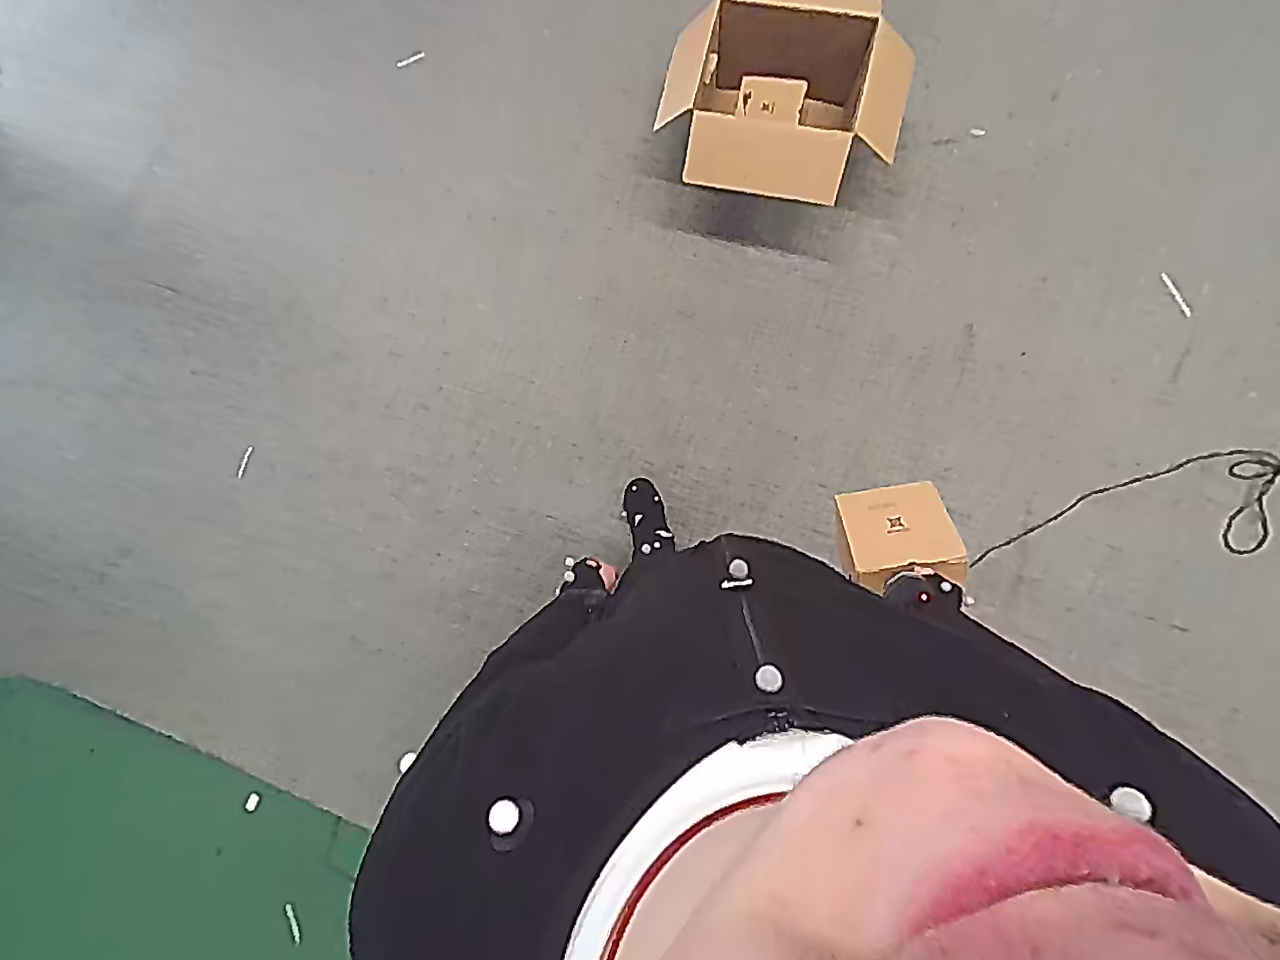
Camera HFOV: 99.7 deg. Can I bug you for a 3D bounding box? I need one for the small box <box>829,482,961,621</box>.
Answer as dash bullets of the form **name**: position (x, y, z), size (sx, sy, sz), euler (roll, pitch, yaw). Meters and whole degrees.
- **small box**: position (0.432, 0.131, 0.940), size (0.168, 0.179, 0.176), euler (-8, 130, 11)
